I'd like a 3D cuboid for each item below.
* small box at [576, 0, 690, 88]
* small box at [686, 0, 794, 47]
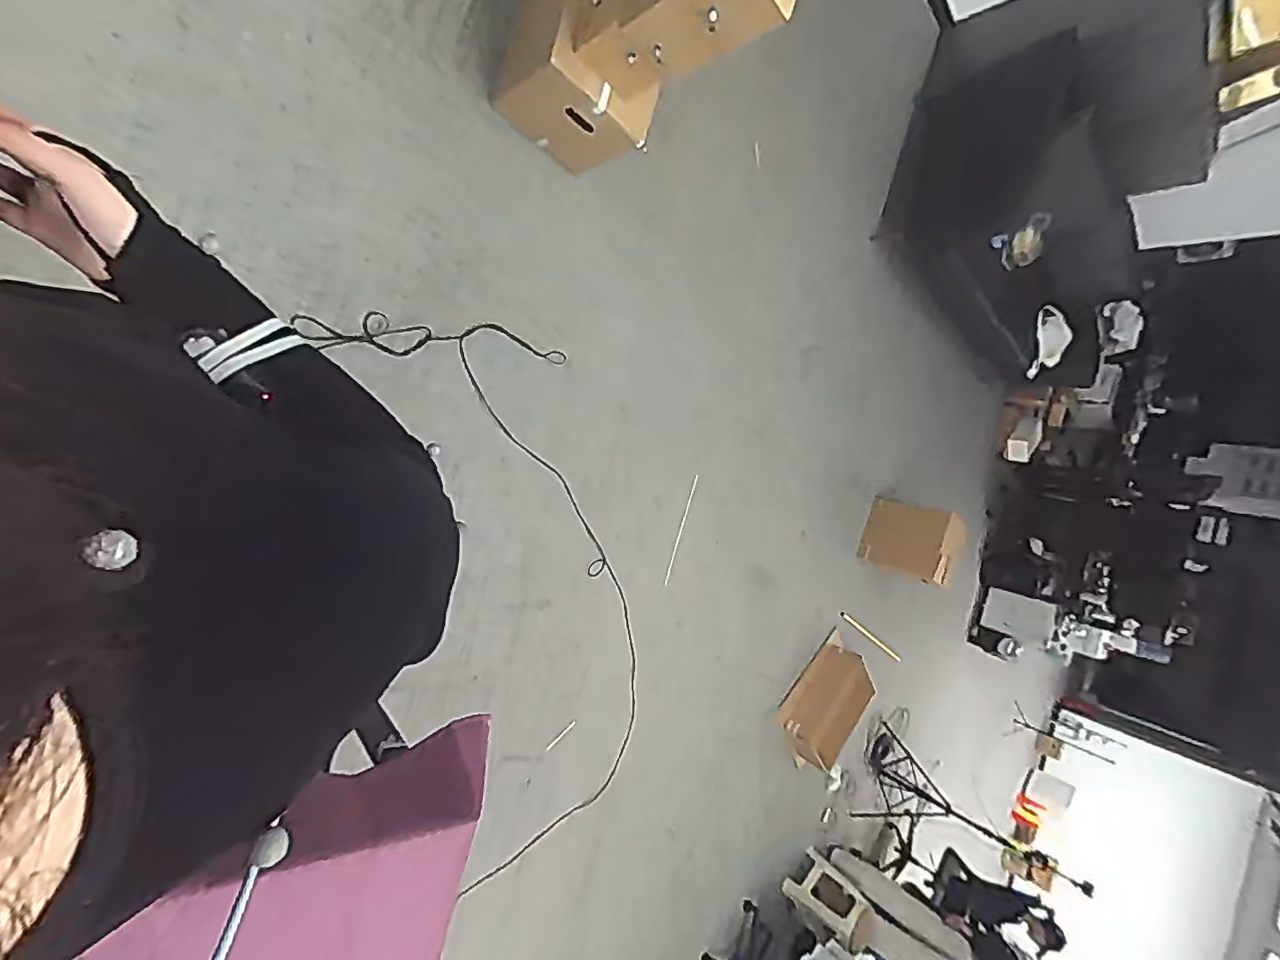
[{"bbox_3d":[-0.018,-1.062,1.264,0.179,0.176,0.168,15,90,-42],"label":"small box"},{"bbox_3d":[0.198,-0.990,1.026,0.168,0.176,0.179,20,89,-42],"label":"small box"}]
